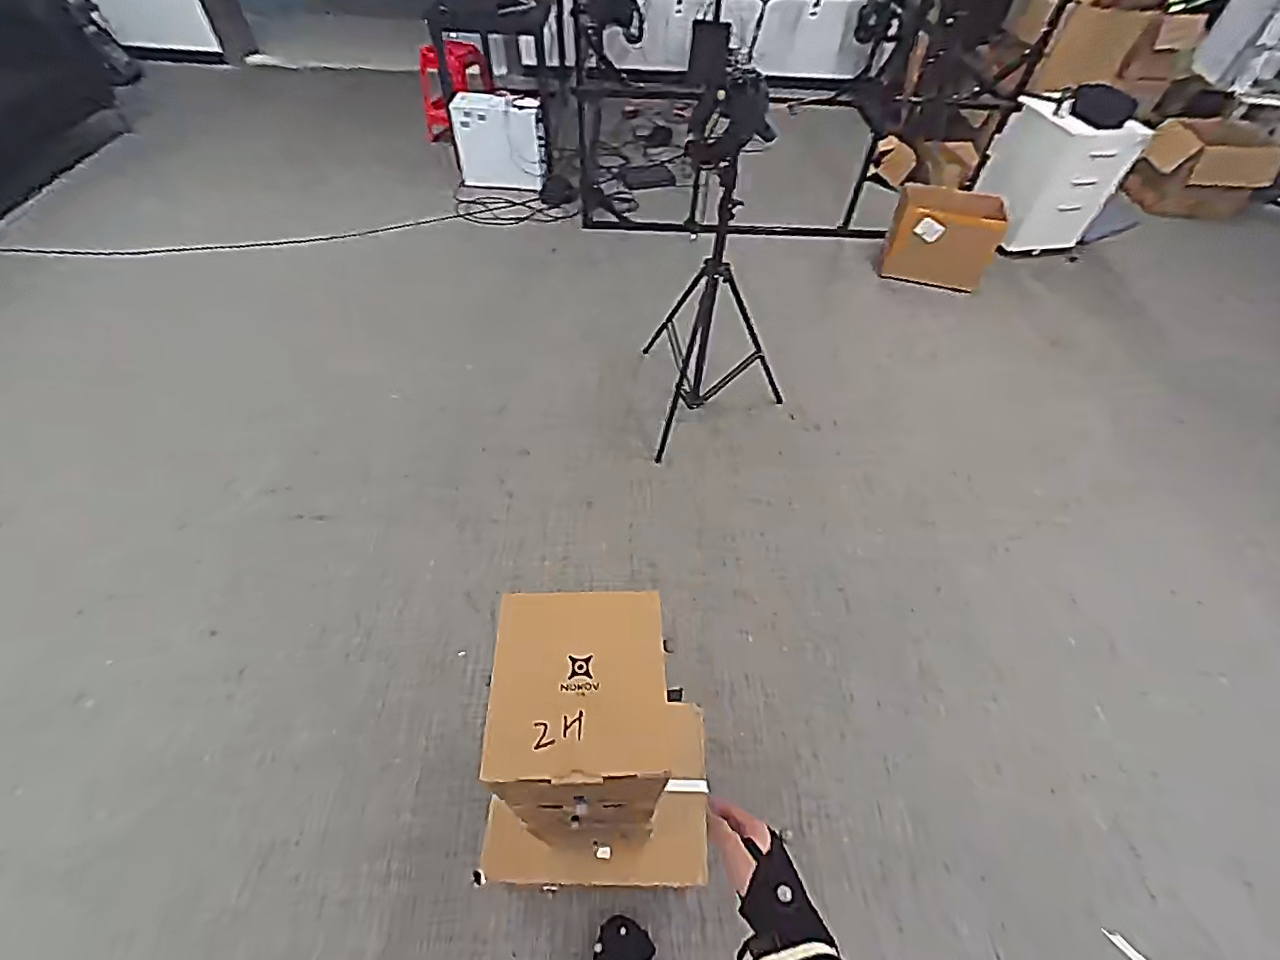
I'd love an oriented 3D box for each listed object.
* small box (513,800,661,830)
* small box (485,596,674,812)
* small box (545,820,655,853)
[{"bbox_3d":[-0.063,0.344,0.704,0.168,0.176,0.179,1,53,-3],"label":"small box"},{"bbox_3d":[-0.057,0.240,0.575,0.168,0.176,0.179,-1,53,-3],"label":"small box"},{"bbox_3d":[-0.066,0.553,0.954,0.179,0.176,0.168,1,53,-3],"label":"small box"}]
